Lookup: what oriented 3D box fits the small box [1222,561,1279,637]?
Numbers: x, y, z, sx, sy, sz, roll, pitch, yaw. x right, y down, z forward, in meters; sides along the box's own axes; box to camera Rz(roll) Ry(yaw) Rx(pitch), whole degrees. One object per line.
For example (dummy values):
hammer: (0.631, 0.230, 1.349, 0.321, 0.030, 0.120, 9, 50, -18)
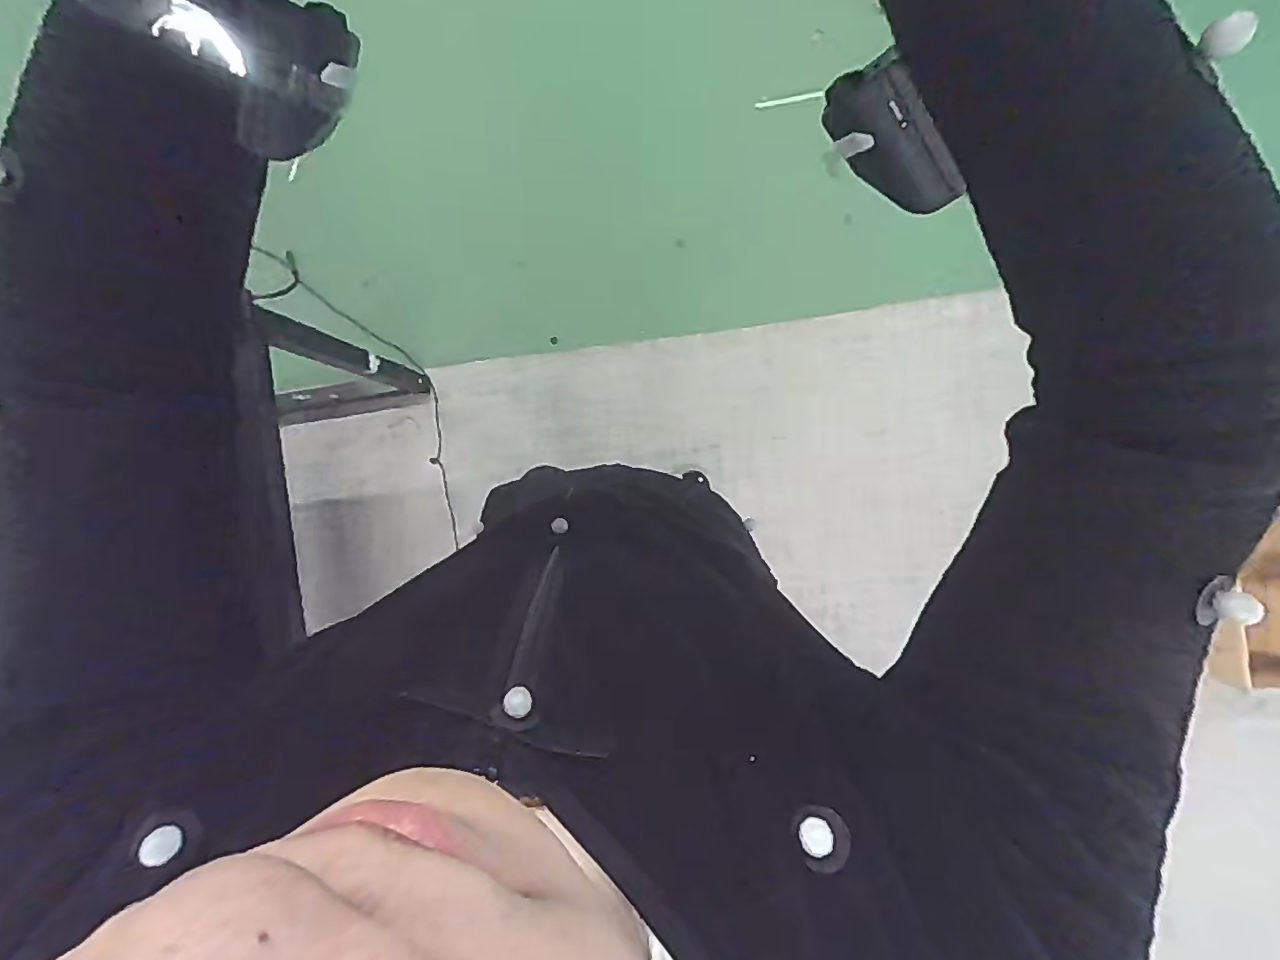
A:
small box: (1.689, 0.311, 1.412, 0.179, 0.176, 0.168, -7, 89, 3)
